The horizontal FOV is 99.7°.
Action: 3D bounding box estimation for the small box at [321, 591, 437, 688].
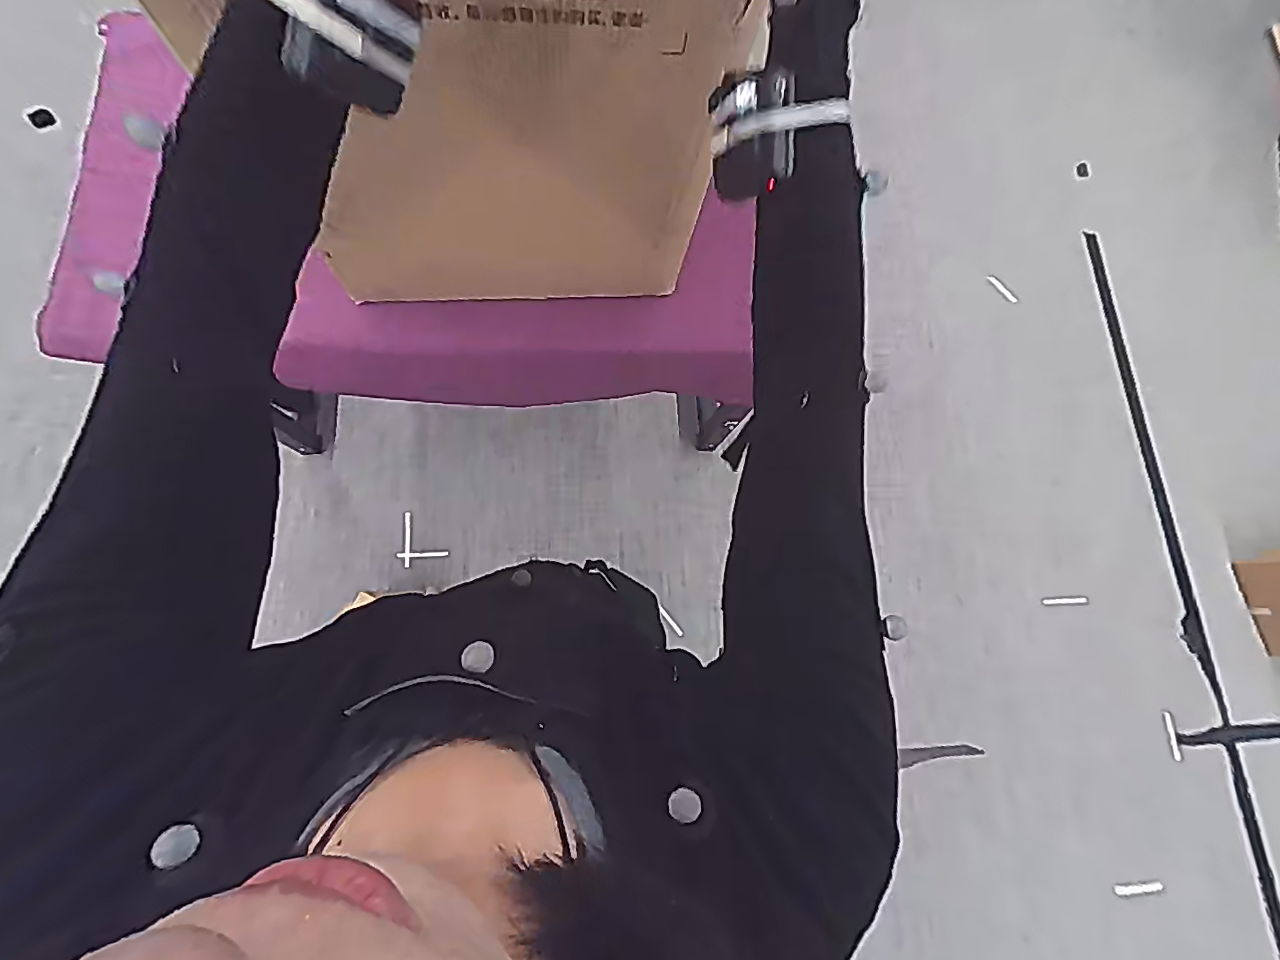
[{"bbox_3d":[-0.640,0.393,1.351,0.179,0.176,0.168,29,76,-1],"label":"small box"}]
